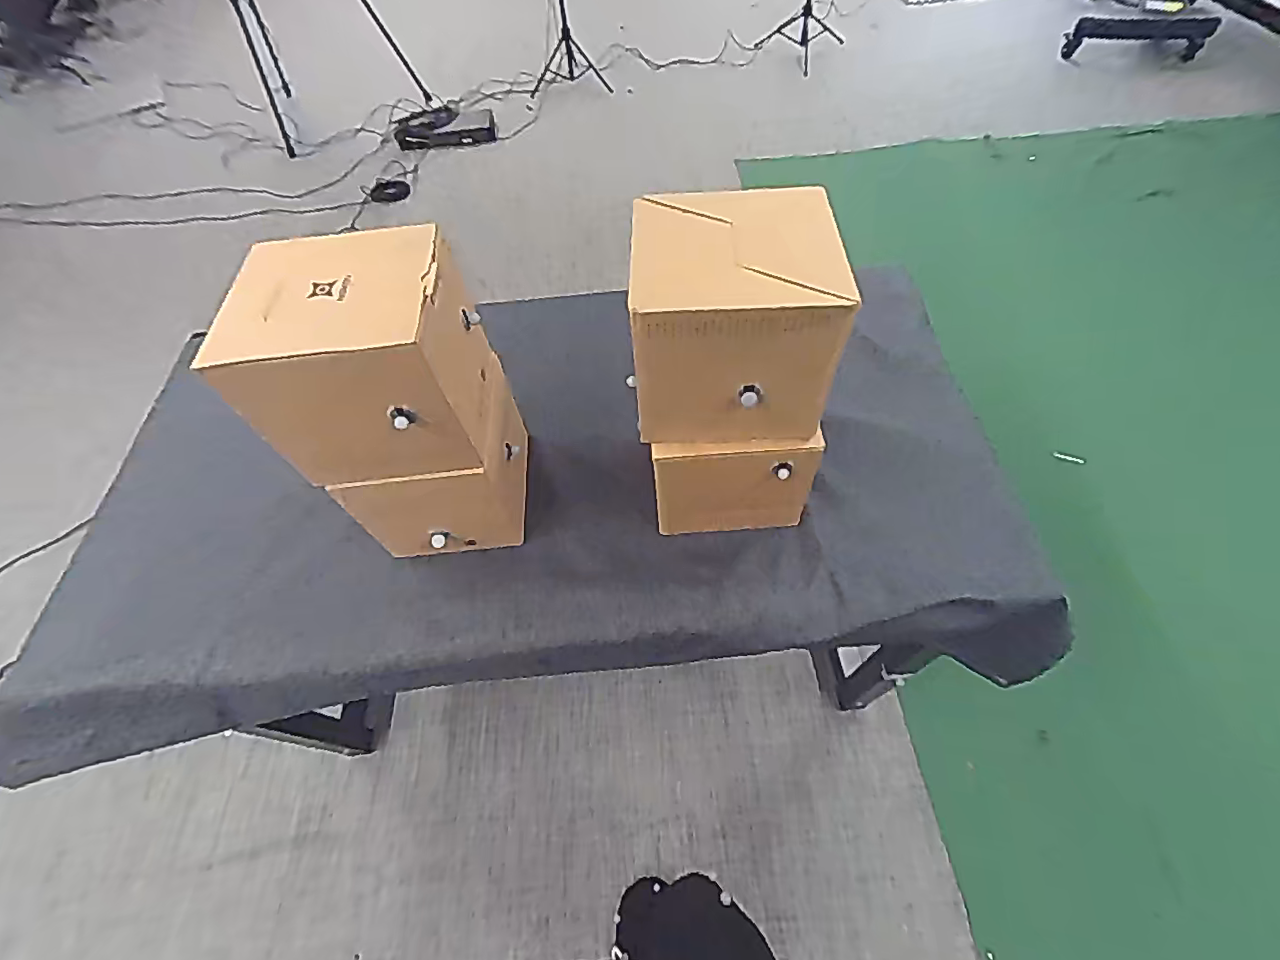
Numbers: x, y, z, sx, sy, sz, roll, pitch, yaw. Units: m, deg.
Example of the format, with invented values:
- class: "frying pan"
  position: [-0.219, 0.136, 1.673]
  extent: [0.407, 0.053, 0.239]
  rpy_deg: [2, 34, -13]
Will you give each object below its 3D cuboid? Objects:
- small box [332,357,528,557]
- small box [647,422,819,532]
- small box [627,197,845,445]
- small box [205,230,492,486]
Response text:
- class: "small box"
  position: [-0.239, -0.024, 0.665]
  extent: [0.168, 0.176, 0.179]
  rpy_deg: [-6, 57, 1]
- class: "small box"
  position: [0.098, -0.047, 0.658]
  extent: [0.179, 0.176, 0.168]
  rpy_deg: [-4, 56, 1]
- class: "small box"
  position: [0.083, -0.152, 0.527]
  extent: [0.179, 0.176, 0.168]
  rpy_deg: [-1, 56, 3]
- class: "small box"
  position: [-0.255, -0.112, 0.529]
  extent: [0.179, 0.176, 0.168]
  rpy_deg: [-8, 55, 1]
